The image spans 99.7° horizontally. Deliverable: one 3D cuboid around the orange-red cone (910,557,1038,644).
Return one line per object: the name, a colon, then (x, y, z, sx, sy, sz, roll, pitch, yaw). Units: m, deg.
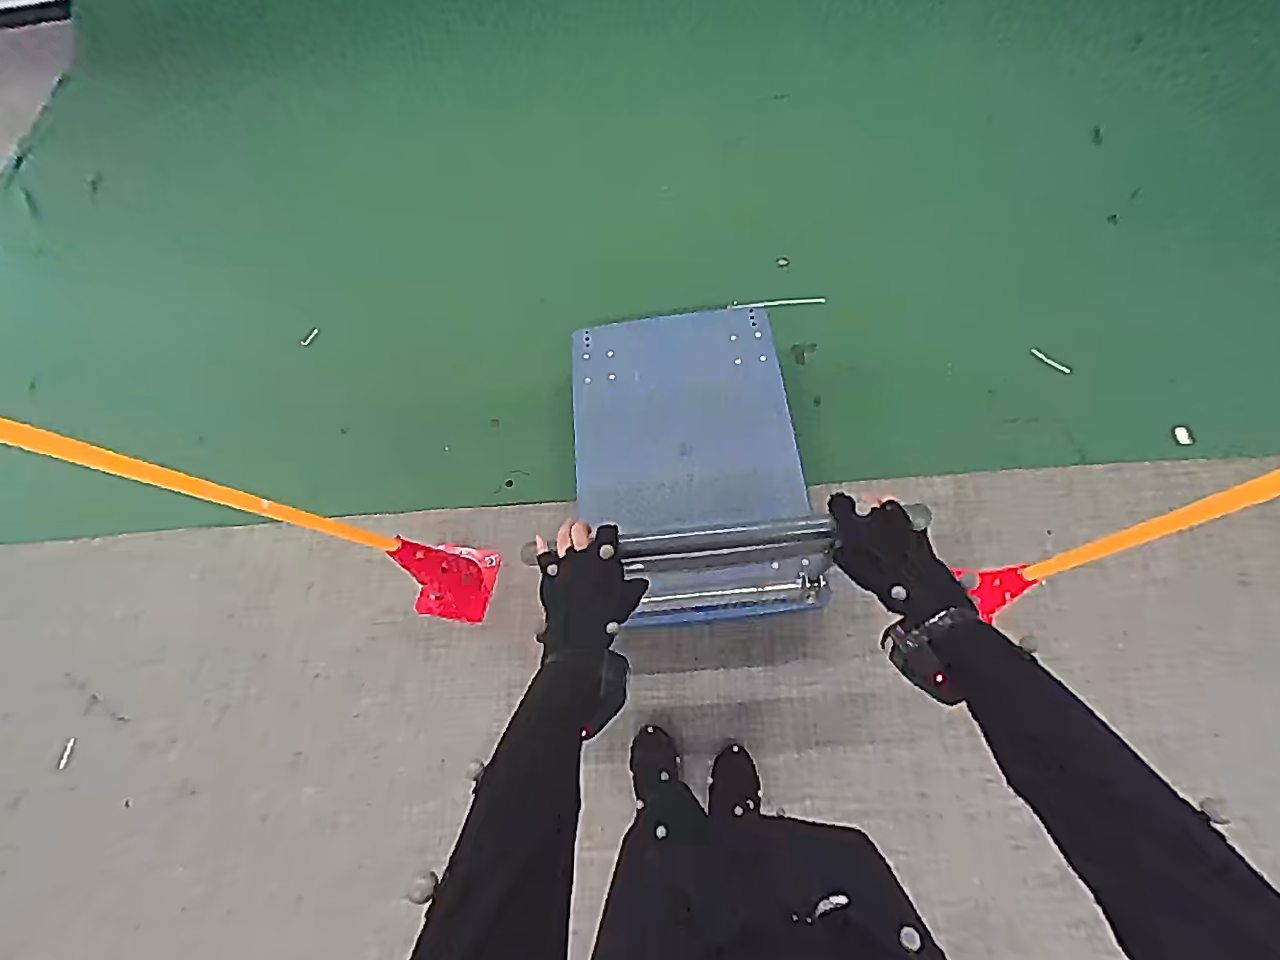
orange-red cone: (0.762, 0.233, 1.192, 0.198, 0.360, 0.199, 6, 69, 9)
